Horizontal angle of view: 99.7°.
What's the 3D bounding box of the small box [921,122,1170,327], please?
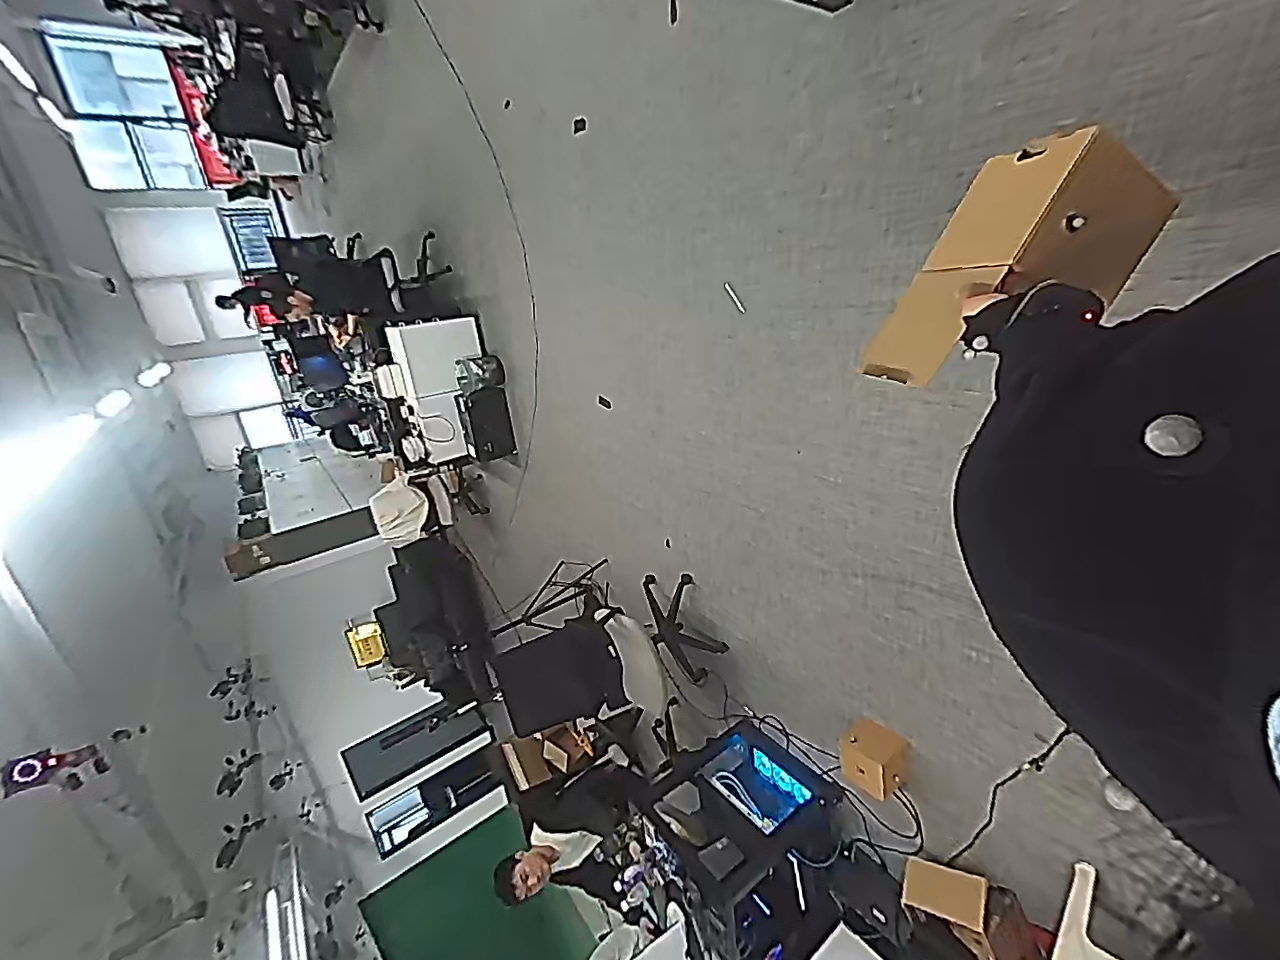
[{"bbox_3d":[0.532,-0.321,0.720,0.179,0.176,0.168,-61,19,11],"label":"small box"}]
